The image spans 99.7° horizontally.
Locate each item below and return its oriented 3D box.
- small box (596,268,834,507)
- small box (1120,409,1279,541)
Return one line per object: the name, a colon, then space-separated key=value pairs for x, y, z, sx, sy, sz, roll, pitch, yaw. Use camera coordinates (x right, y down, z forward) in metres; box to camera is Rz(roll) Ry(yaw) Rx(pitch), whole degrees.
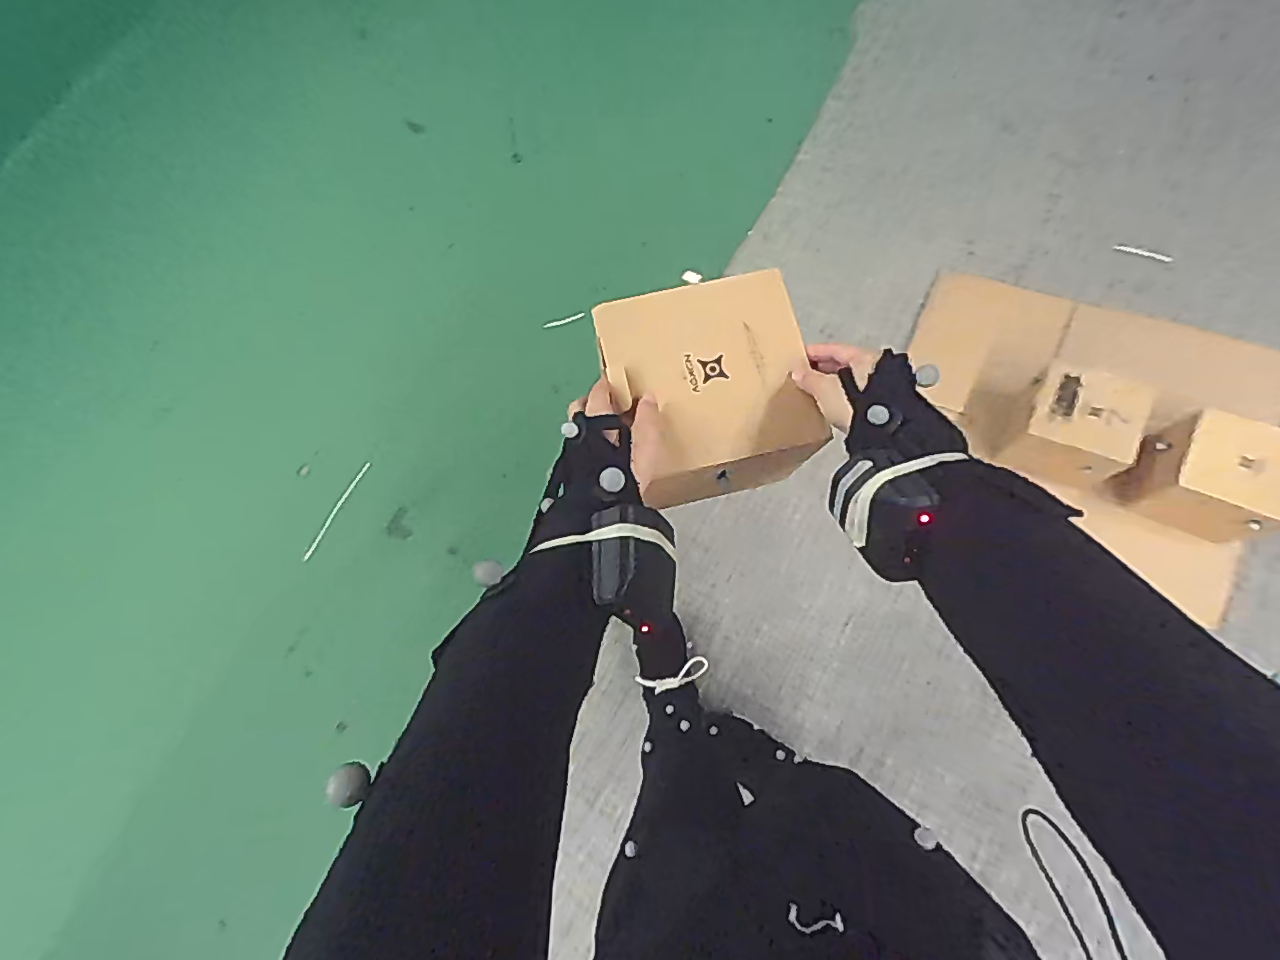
small box: x=0.062 y=-0.078 z=0.540 sx=0.179 sy=0.176 sz=0.168 roll=-12 pitch=78 yaw=-3
small box: x=1.053 y=-0.001 z=1.001 sx=0.179 sy=0.176 sz=0.168 roll=25 pitch=80 yaw=18
